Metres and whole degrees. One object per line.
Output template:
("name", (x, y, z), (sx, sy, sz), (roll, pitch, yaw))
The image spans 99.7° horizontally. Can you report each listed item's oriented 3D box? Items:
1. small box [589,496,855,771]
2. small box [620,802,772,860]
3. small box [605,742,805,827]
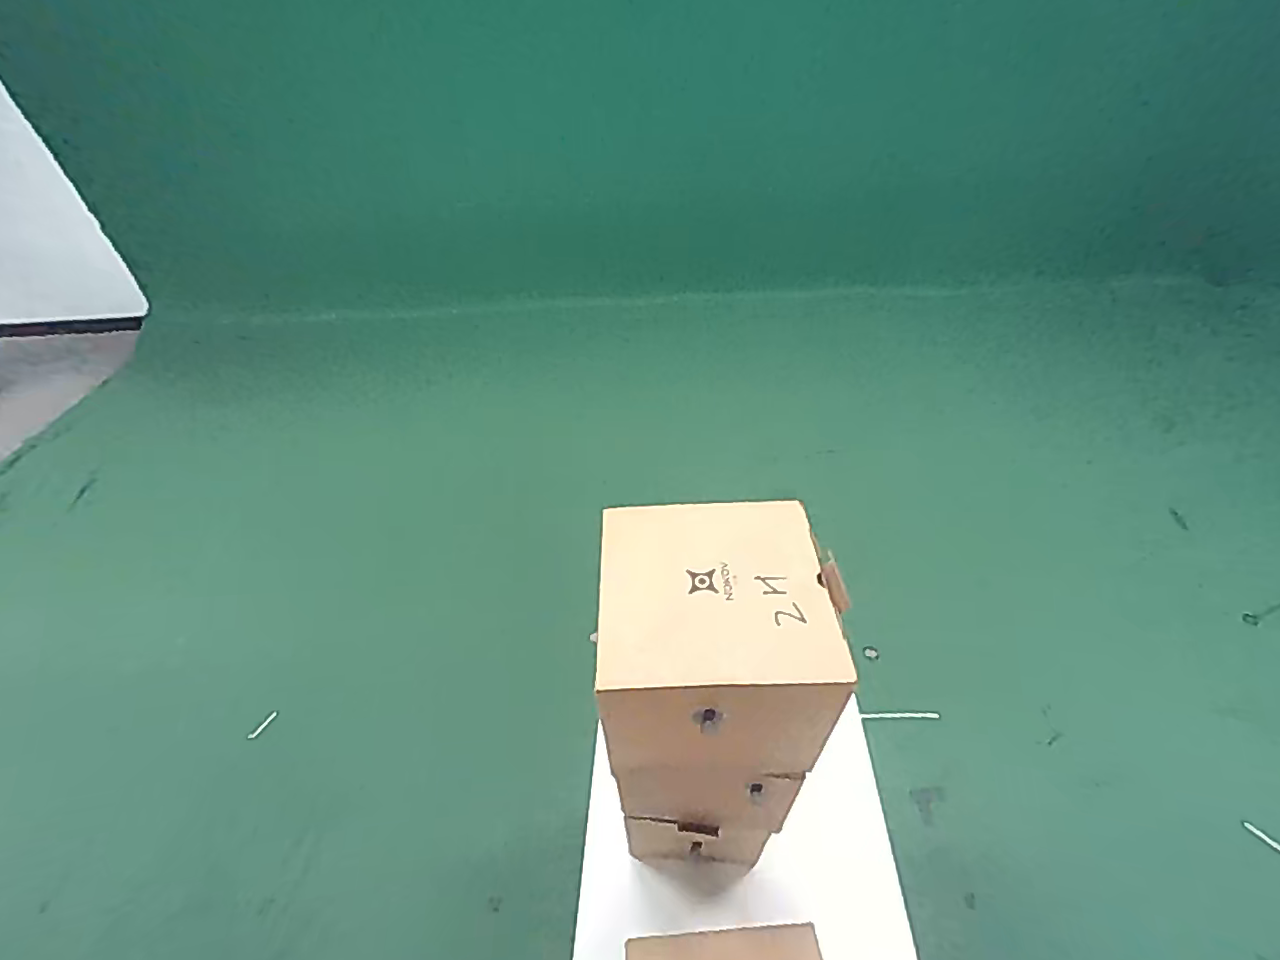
("small box", (0.056, 0.132, 0.459), (0.179, 0.176, 0.168), (-2, 44, 0))
("small box", (0.070, 0.363, 0.690), (0.168, 0.176, 0.179), (1, 44, 4))
("small box", (0.067, 0.247, 0.576), (0.179, 0.176, 0.168), (3, 44, 6))
